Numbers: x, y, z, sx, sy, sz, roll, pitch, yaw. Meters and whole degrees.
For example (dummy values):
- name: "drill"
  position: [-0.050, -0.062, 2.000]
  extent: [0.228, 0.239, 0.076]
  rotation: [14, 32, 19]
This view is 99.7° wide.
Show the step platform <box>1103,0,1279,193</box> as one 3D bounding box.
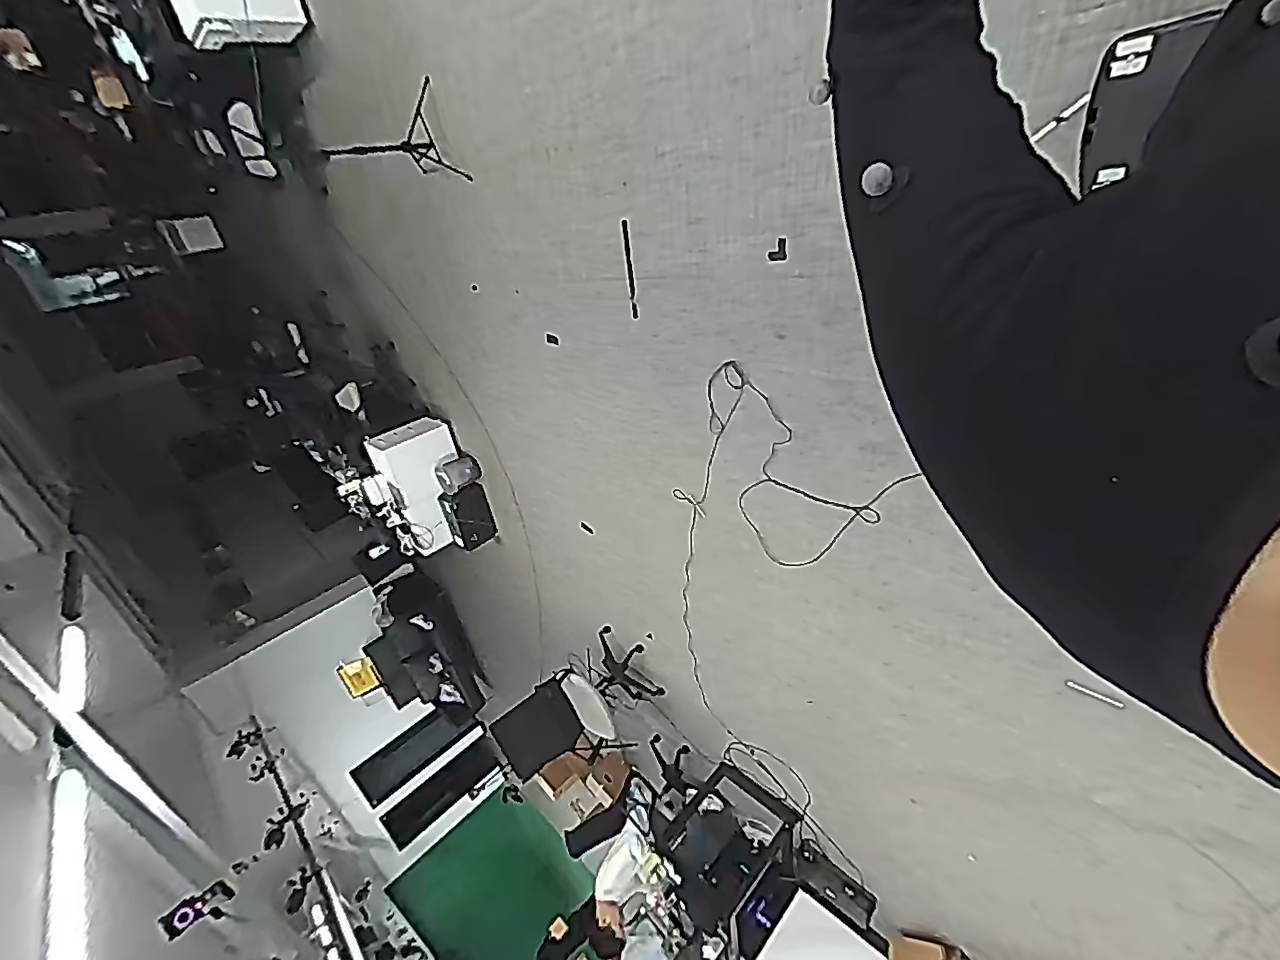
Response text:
- name: "step platform"
  position: [1.175, -0.652, 0.844]
  extent: [0.684, 0.204, 0.286]
  rotation: [17, 128, 42]
